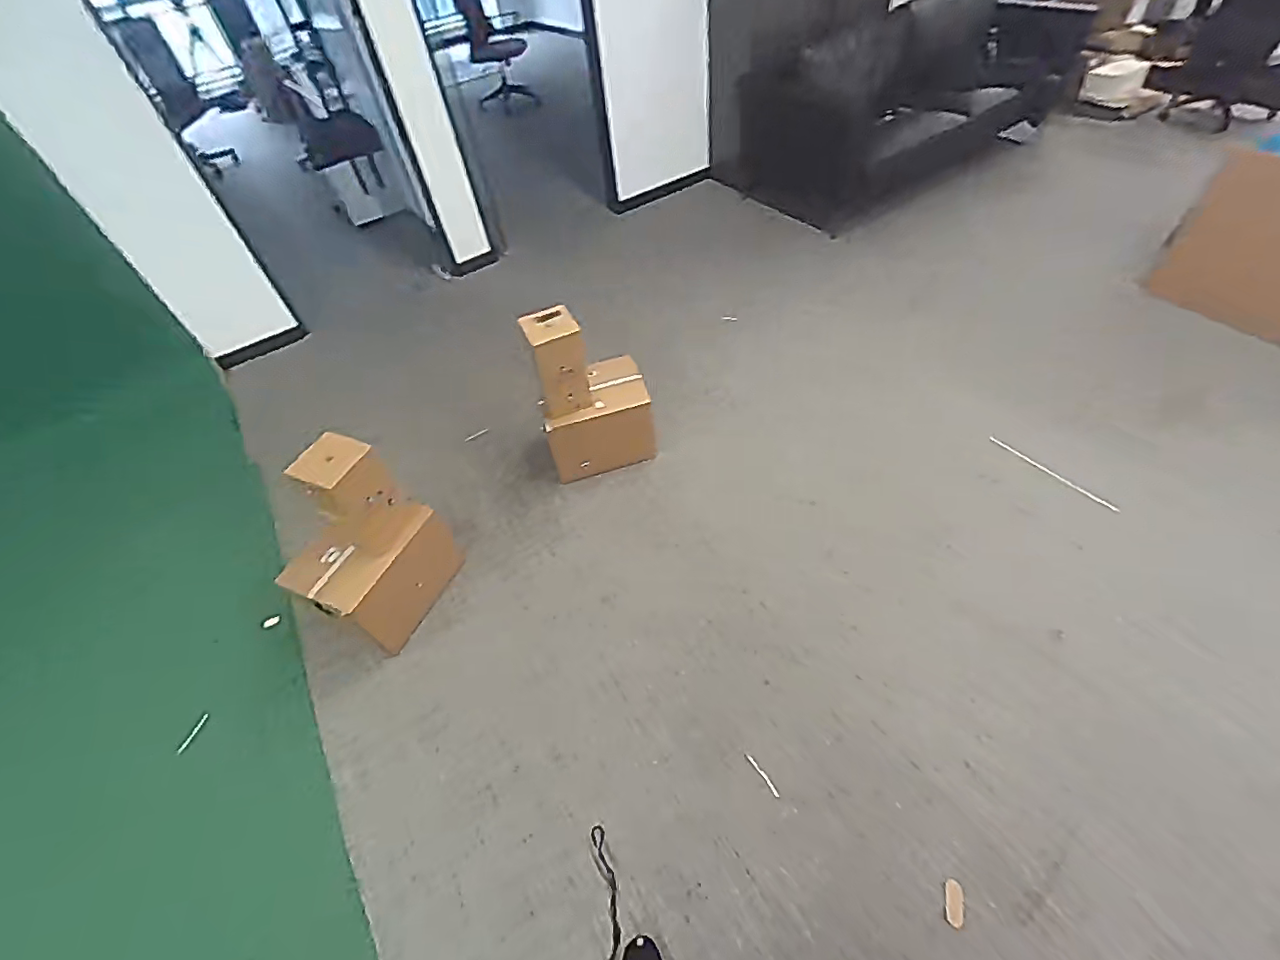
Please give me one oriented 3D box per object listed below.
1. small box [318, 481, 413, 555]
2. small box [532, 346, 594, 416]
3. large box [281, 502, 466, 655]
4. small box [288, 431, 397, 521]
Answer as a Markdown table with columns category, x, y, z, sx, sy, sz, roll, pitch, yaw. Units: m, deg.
| category | x | y | z | sx | sy | sz | roll | pitch | yaw |
| --- | --- | --- | --- | --- | --- | --- | --- | --- | --- |
| small box | -0.827 | 0.097 | 1.657 | 0.168 | 0.176 | 0.179 | 14 | 53 | 19 |
| small box | -0.278 | -0.356 | 1.981 | 0.168 | 0.176 | 0.179 | -21 | 51 | -12 |
| large box | -0.861 | 0.302 | 1.811 | 0.320 | 0.320 | 0.408 | 14 | 53 | 20 |
| small box | -0.835 | -0.008 | 1.533 | 0.179 | 0.176 | 0.168 | 17 | 54 | 19 |
